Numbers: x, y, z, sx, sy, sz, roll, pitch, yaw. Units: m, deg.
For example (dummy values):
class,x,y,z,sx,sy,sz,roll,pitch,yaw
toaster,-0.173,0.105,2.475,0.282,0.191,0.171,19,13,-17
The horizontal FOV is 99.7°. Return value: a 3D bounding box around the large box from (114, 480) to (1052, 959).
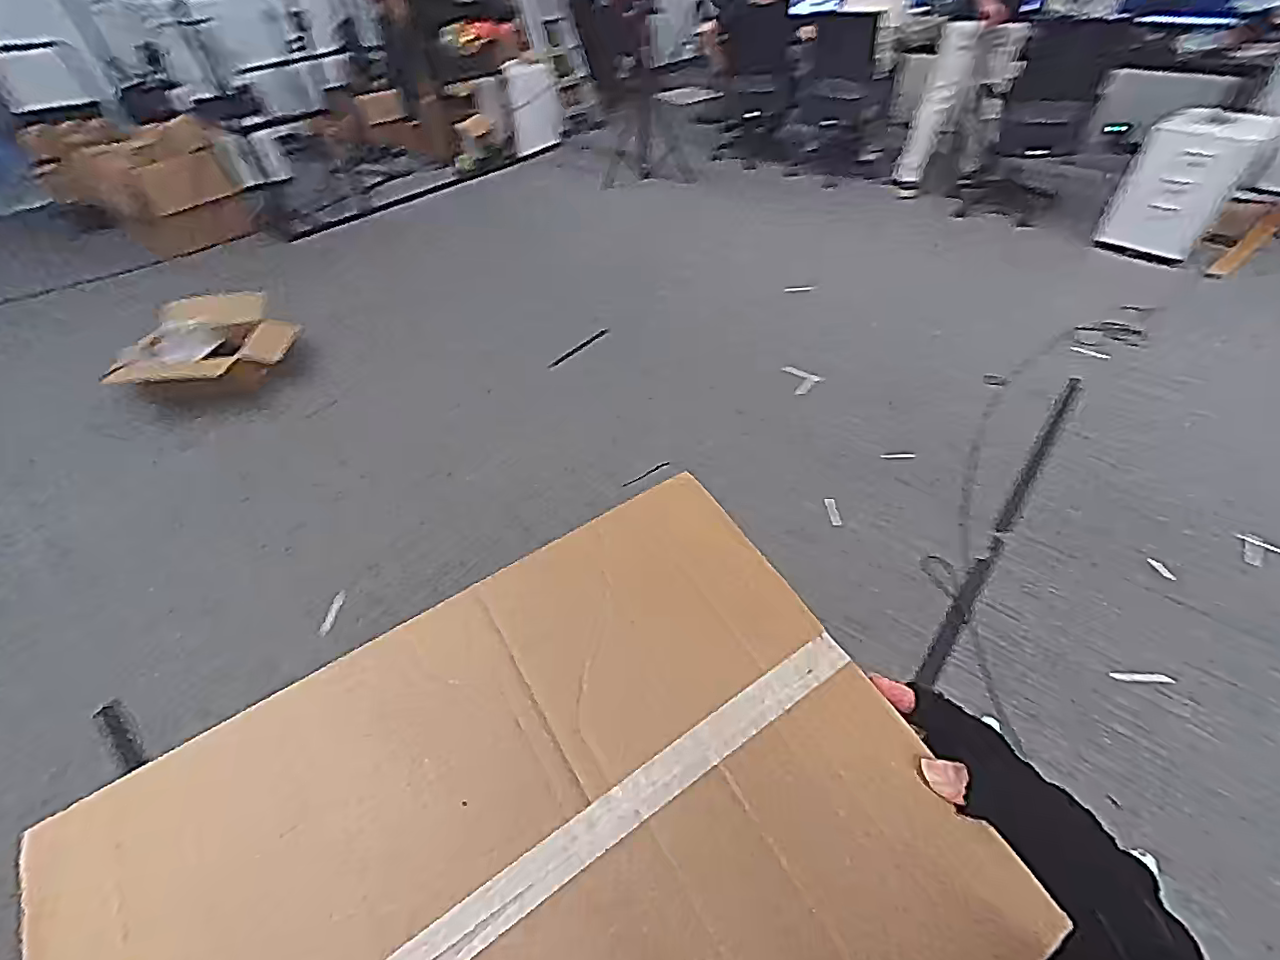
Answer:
class,x,y,z,sx,sy,sz,roll,pitch,yaw
large box,-0.038,0.277,0.404,0.408,0.320,0.320,-27,62,-18
